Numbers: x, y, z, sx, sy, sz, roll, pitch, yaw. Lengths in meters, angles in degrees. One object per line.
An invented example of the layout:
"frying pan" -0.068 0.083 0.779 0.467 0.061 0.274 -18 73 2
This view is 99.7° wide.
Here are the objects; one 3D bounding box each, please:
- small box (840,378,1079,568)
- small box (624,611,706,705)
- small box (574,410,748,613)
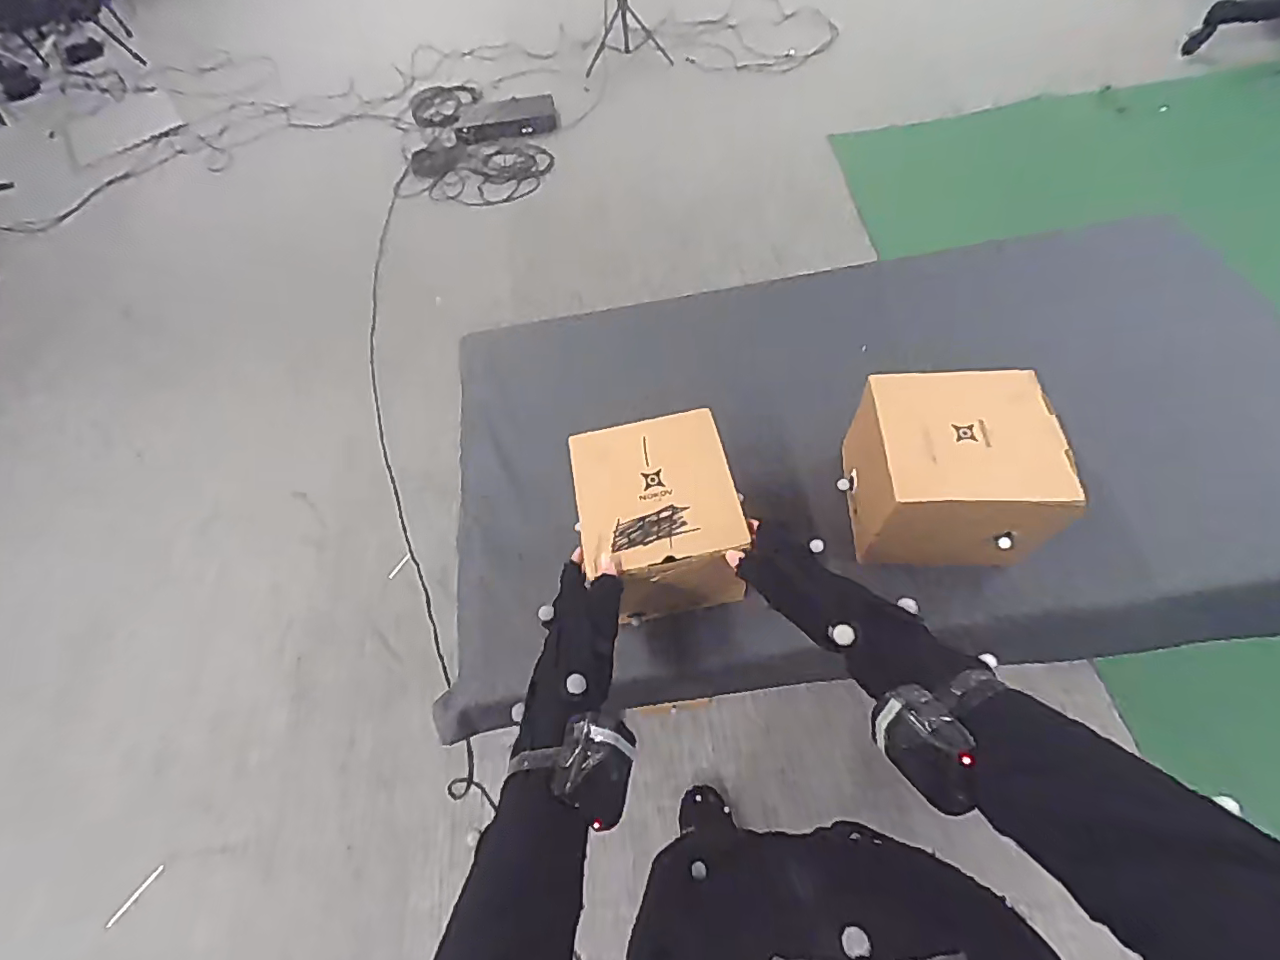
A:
"small box" 0.350 -0.002 0.635 0.179 0.176 0.168 0 60 7
"small box" 0.062 0.425 1.269 0.168 0.176 0.179 -9 61 1
"small box" 0.025 0.047 0.641 0.168 0.176 0.179 -11 59 0
